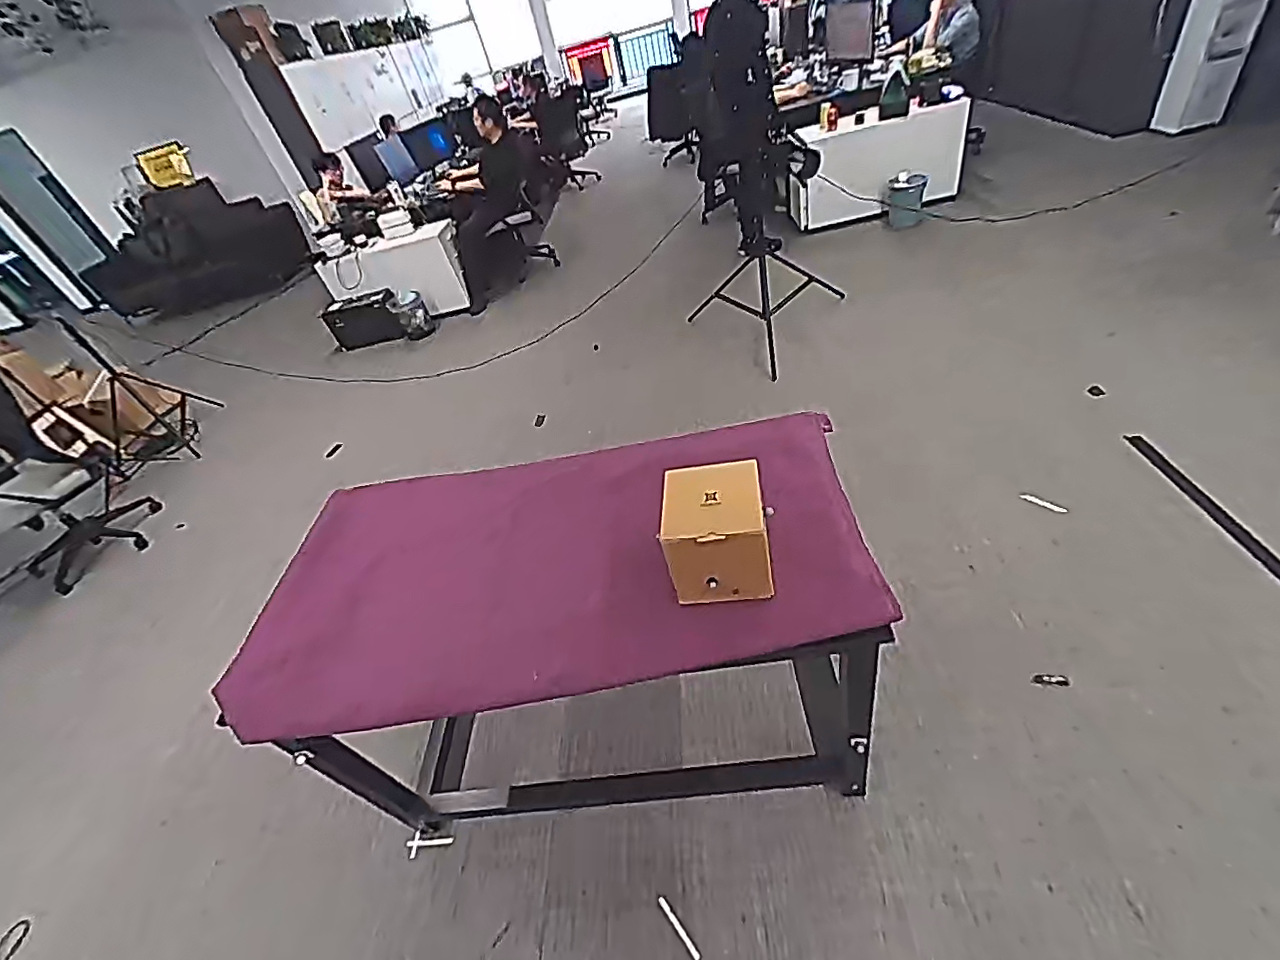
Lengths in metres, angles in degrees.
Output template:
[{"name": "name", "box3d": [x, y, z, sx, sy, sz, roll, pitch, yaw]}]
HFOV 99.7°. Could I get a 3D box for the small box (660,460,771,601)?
[{"name": "small box", "box3d": [0.136, 0.090, 0.955, 0.168, 0.176, 0.179, -7, 40, 12]}]
